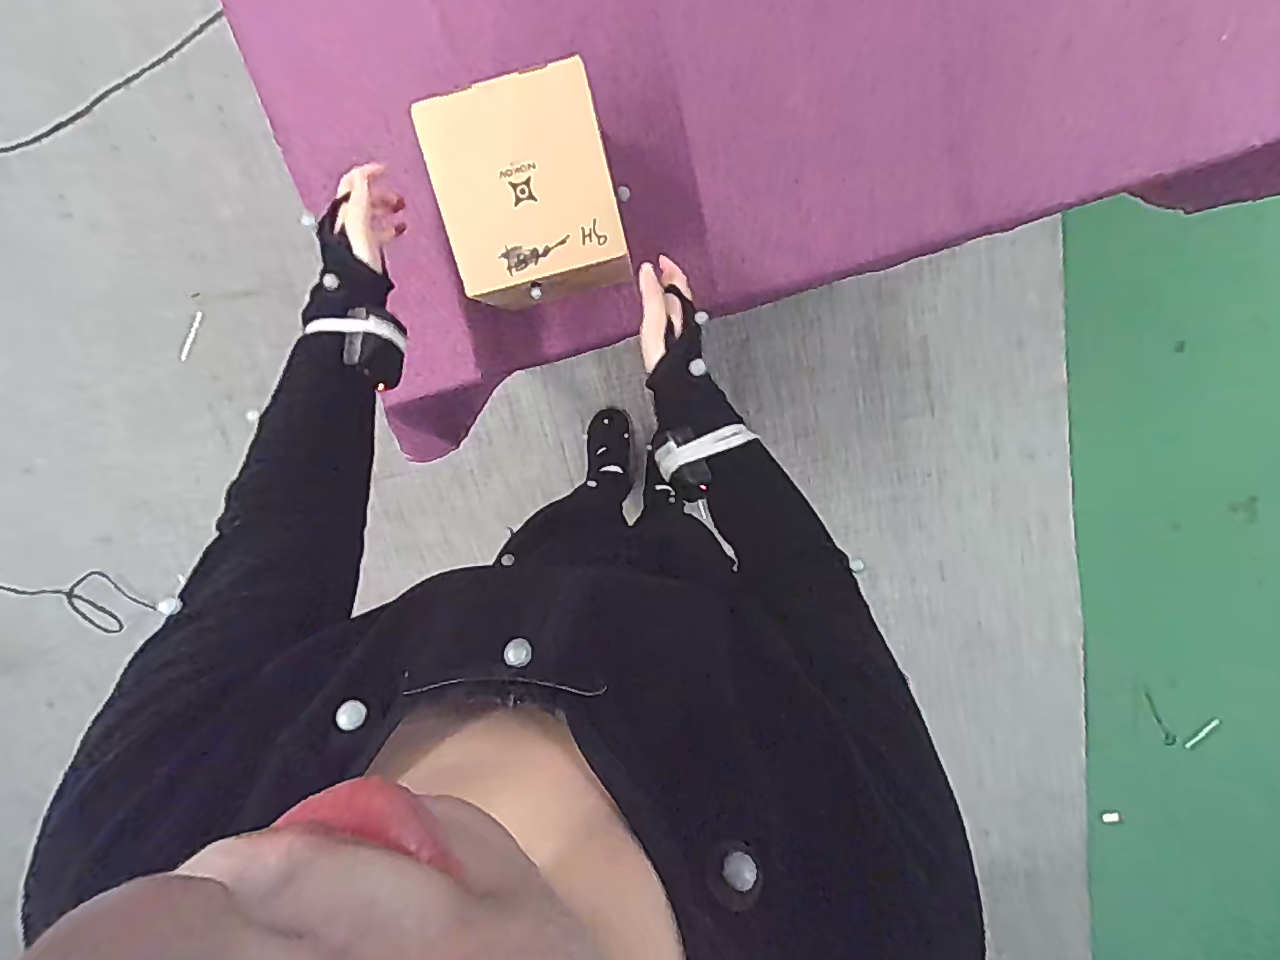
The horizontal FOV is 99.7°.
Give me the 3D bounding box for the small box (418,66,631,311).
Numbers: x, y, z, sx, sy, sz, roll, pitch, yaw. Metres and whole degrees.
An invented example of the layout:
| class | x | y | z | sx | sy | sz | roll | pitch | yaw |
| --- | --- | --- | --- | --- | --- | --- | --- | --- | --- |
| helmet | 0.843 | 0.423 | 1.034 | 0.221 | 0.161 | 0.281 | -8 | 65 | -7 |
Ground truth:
| class | x | y | z | sx | sy | sz | roll | pitch | yaw |
| --- | --- | --- | --- | --- | --- | --- | --- | --- | --- |
| small box | -0.108 | -0.295 | 0.589 | 0.168 | 0.176 | 0.179 | -12 | 103 | 5 |
